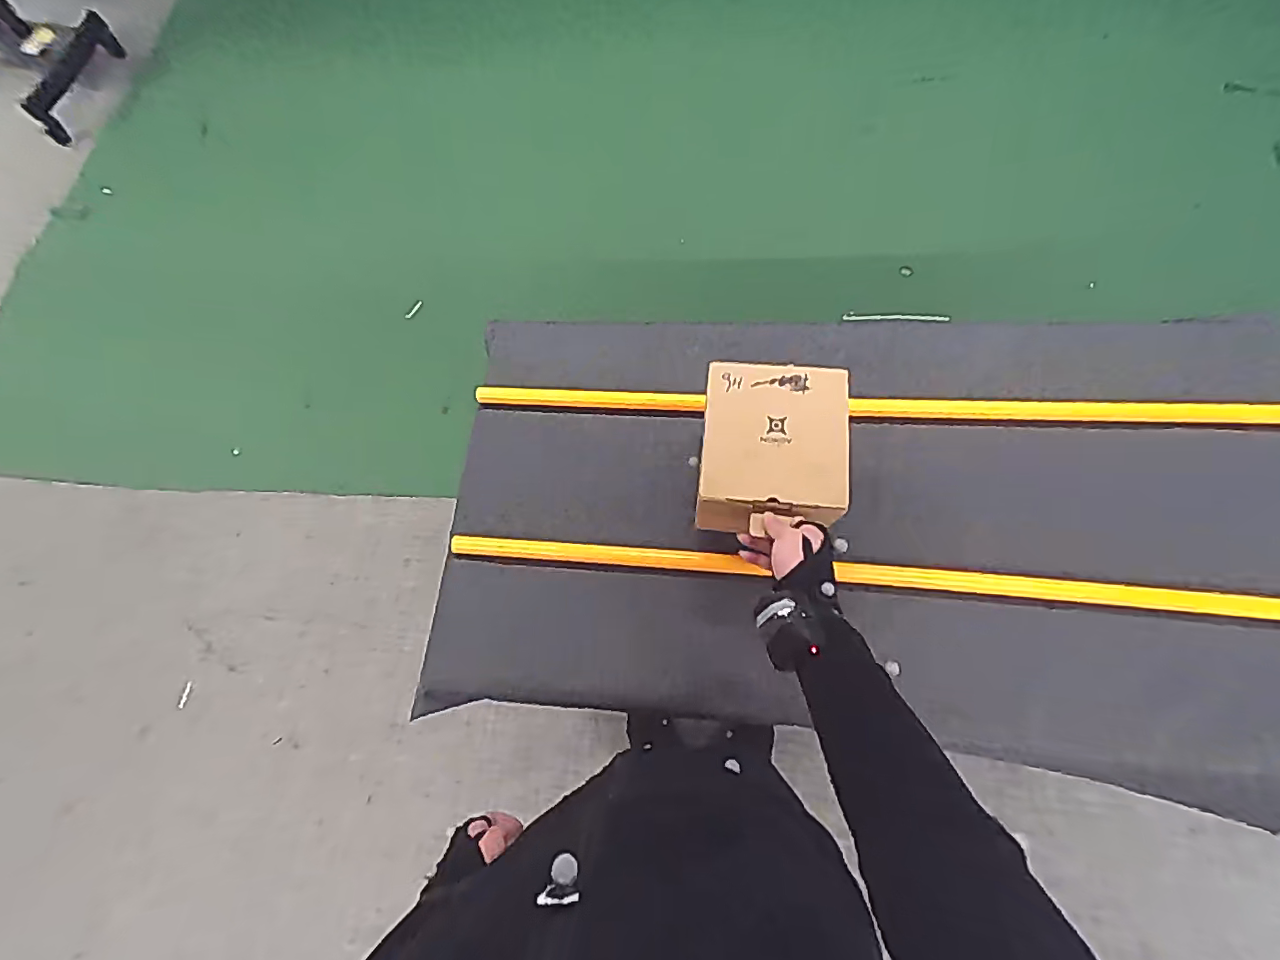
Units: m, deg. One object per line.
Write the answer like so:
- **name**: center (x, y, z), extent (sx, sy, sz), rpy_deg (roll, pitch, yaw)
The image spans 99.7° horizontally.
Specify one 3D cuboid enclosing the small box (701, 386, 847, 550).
- **small box**: center (0.167, -0.008, 0.713), extent (0.168, 0.176, 0.179), rpy_deg (1, 71, 7)
